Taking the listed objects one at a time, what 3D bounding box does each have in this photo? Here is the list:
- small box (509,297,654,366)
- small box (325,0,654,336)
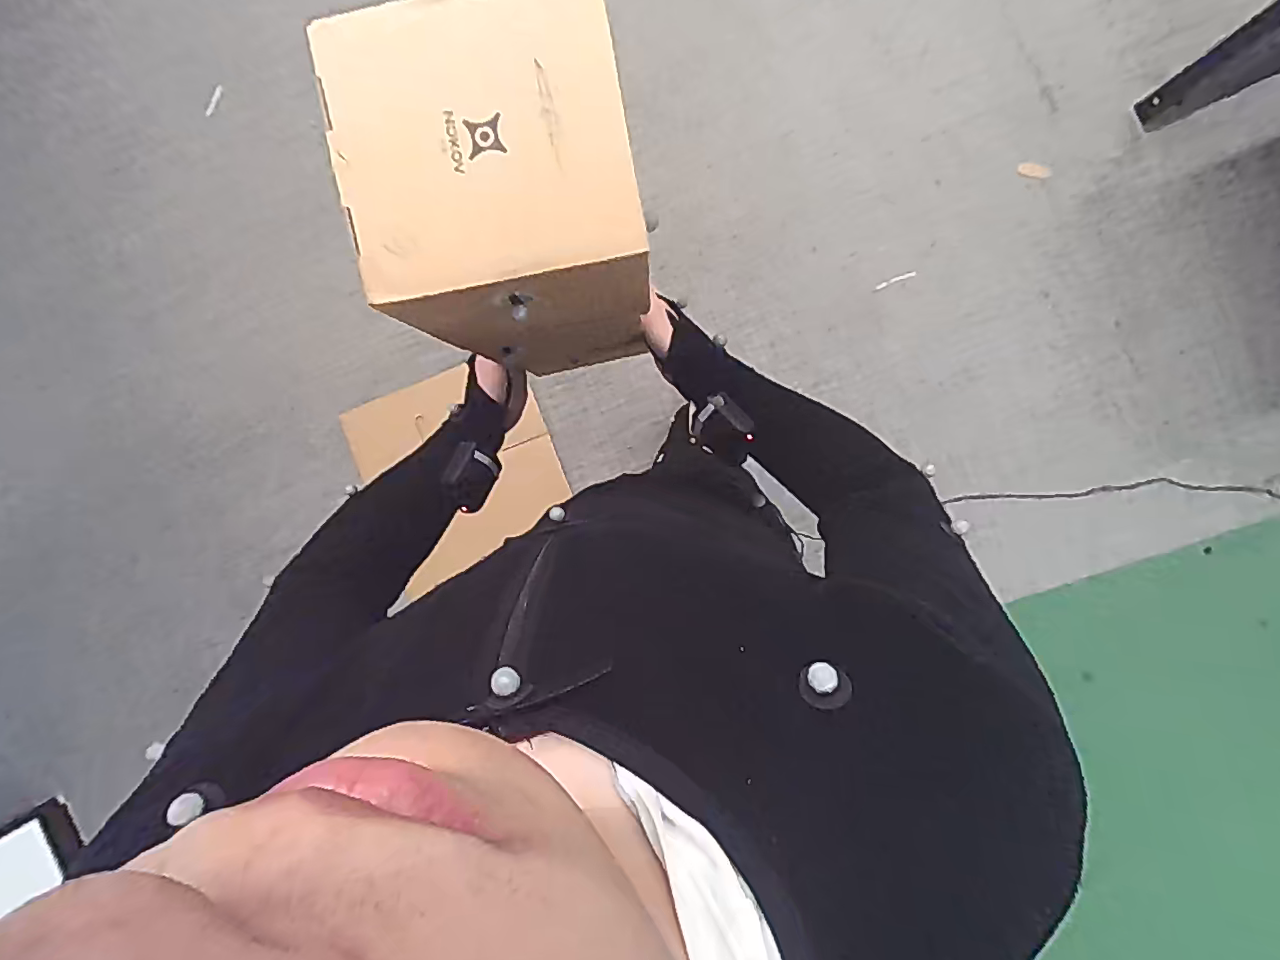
[{"bbox_3d":[-0.081,-0.257,0.726,0.179,0.176,0.168,-11,94,3],"label":"small box"},{"bbox_3d":[-0.087,-0.212,0.401,0.179,0.176,0.168,-9,95,3],"label":"small box"}]
